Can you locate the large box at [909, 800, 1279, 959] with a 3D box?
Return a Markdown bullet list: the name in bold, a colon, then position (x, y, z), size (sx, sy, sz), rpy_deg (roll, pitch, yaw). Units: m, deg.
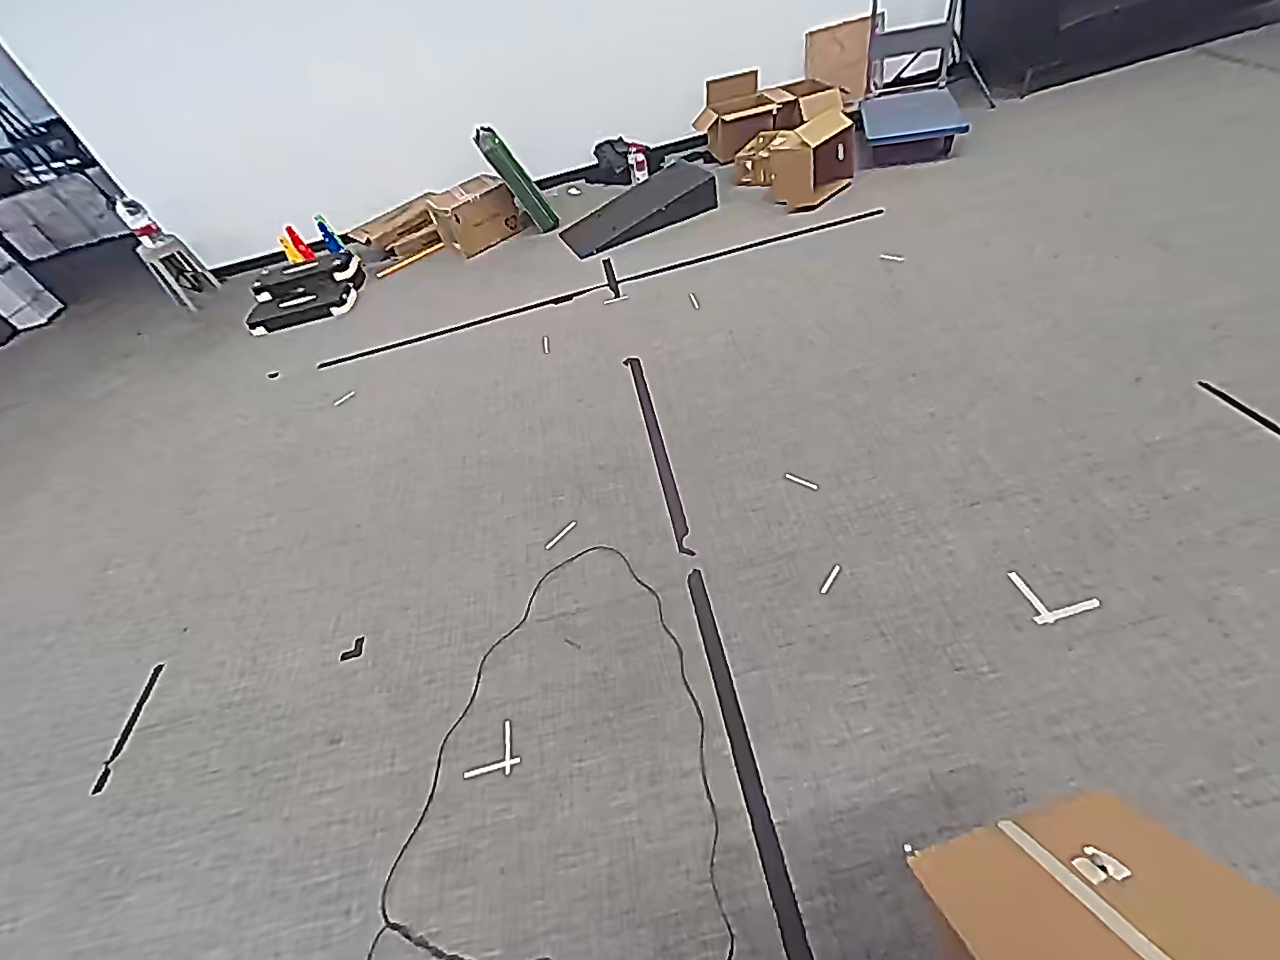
- **large box**: position (0.595, 0.658, 0.610), size (0.320, 0.408, 0.320), rpy_deg (-19, 84, 1)
